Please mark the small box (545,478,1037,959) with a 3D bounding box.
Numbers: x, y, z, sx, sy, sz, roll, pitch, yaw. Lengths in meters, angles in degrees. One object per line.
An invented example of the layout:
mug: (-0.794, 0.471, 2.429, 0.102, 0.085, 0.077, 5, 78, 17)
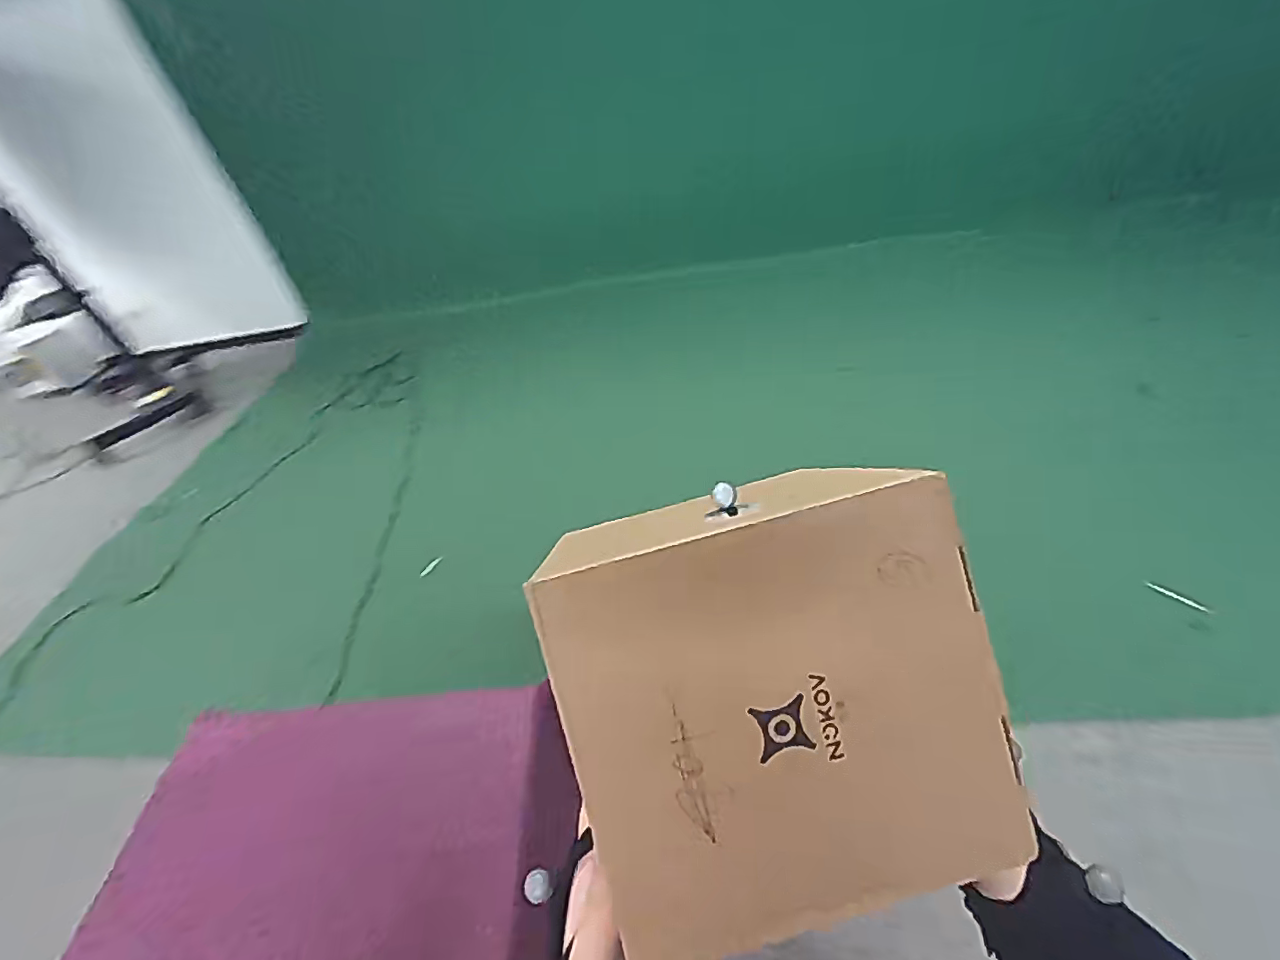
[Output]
small box: (0.060, 0.096, 0.297, 0.179, 0.168, 0.176, -13, 1, -1)
